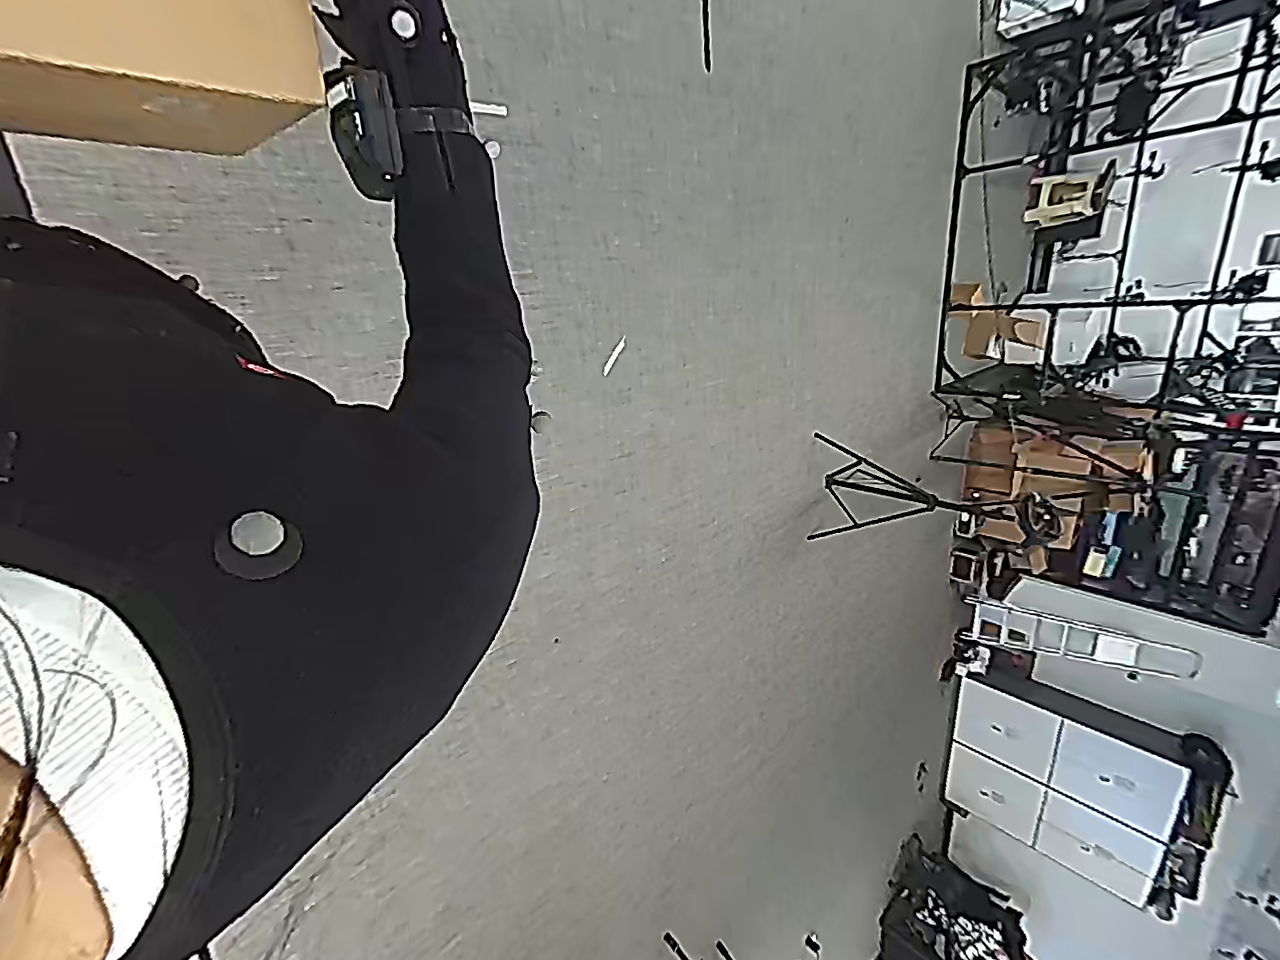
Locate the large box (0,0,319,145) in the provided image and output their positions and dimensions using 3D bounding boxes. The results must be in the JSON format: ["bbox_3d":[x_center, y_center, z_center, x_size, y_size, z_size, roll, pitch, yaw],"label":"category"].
[{"bbox_3d":[-0.449,-0.373,0.259,0.408,0.320,0.320,-20,122,-39],"label":"large box"}]
